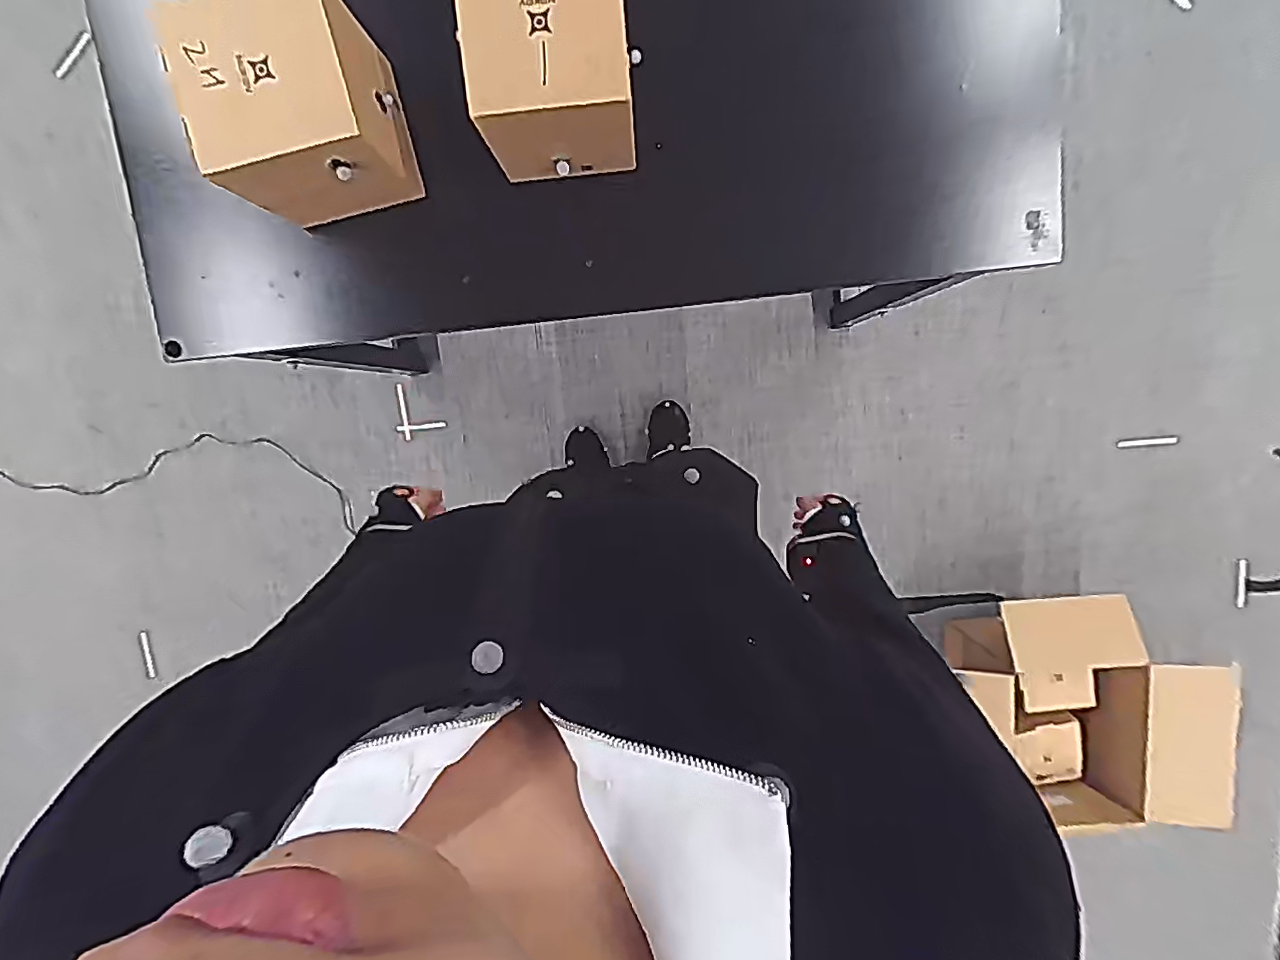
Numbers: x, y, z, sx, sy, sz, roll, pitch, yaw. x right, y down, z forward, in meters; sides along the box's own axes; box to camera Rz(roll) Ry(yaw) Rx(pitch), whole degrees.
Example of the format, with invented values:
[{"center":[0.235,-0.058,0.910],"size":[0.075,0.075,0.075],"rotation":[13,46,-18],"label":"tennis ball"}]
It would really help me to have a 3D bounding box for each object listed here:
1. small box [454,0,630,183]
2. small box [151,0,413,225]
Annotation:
[{"center":[-0.101,-0.467,0.613],"size":[0.168,0.176,0.179],"rotation":[-4,99,2],"label":"small box"},{"center":[-0.386,-0.420,0.625],"size":[0.179,0.176,0.168],"rotation":[-13,97,3],"label":"small box"}]
